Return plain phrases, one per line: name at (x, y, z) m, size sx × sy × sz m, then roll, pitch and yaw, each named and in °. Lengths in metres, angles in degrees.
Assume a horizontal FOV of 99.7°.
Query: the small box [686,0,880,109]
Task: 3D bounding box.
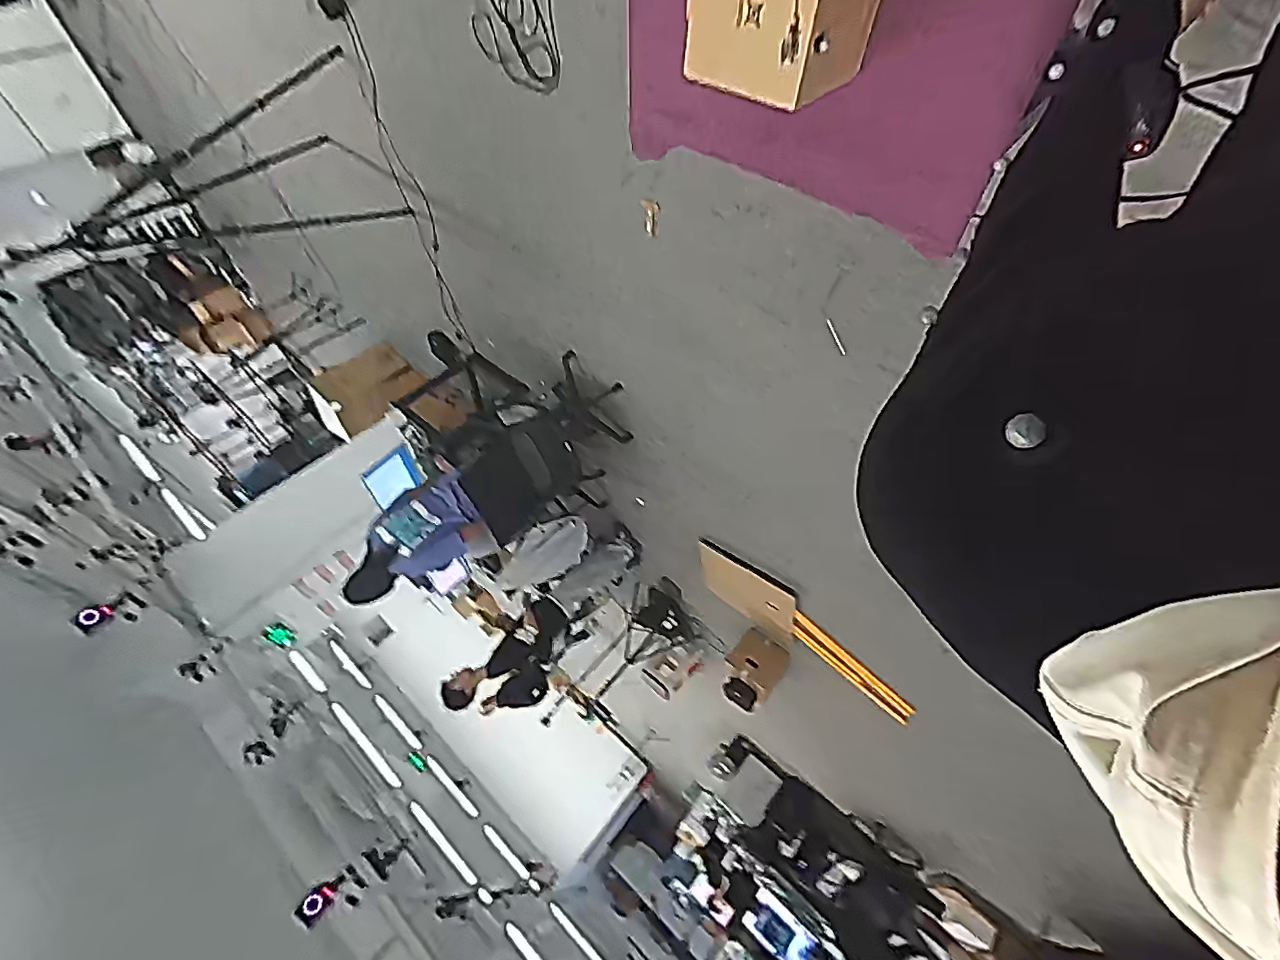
small box at (0.182, -0.598, 0.667) m, size 0.179 × 0.176 × 0.168 m, roll 36°, pitch 152°, yaw 22°
